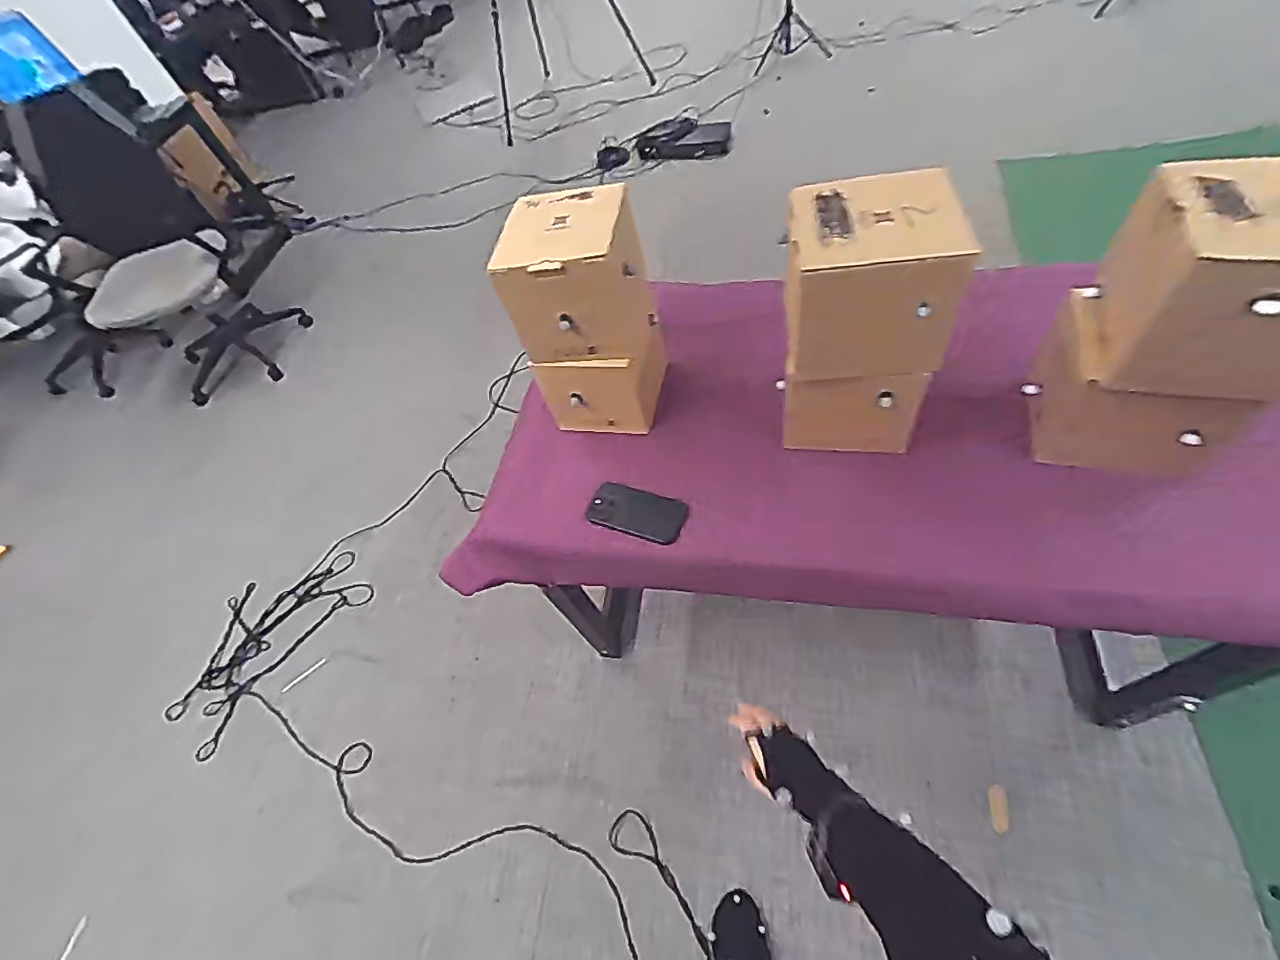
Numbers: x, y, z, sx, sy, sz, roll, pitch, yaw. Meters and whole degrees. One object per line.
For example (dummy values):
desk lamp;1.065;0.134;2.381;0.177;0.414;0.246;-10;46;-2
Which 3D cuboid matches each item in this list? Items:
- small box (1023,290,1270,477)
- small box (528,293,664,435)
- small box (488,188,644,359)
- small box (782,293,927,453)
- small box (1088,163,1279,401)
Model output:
small box;0.631;-0.122;0.702;0.179;0.176;0.168;9;58;20
small box;-0.063;-0.193;0.923;0.168;0.176;0.179;4;57;17
small box;-0.094;-0.292;0.795;0.168;0.176;0.179;0;57;13
small box;0.307;-0.154;0.802;0.179;0.176;0.168;3;57;16
small box;0.604;-0.200;0.560;0.179;0.176;0.168;9;58;19
